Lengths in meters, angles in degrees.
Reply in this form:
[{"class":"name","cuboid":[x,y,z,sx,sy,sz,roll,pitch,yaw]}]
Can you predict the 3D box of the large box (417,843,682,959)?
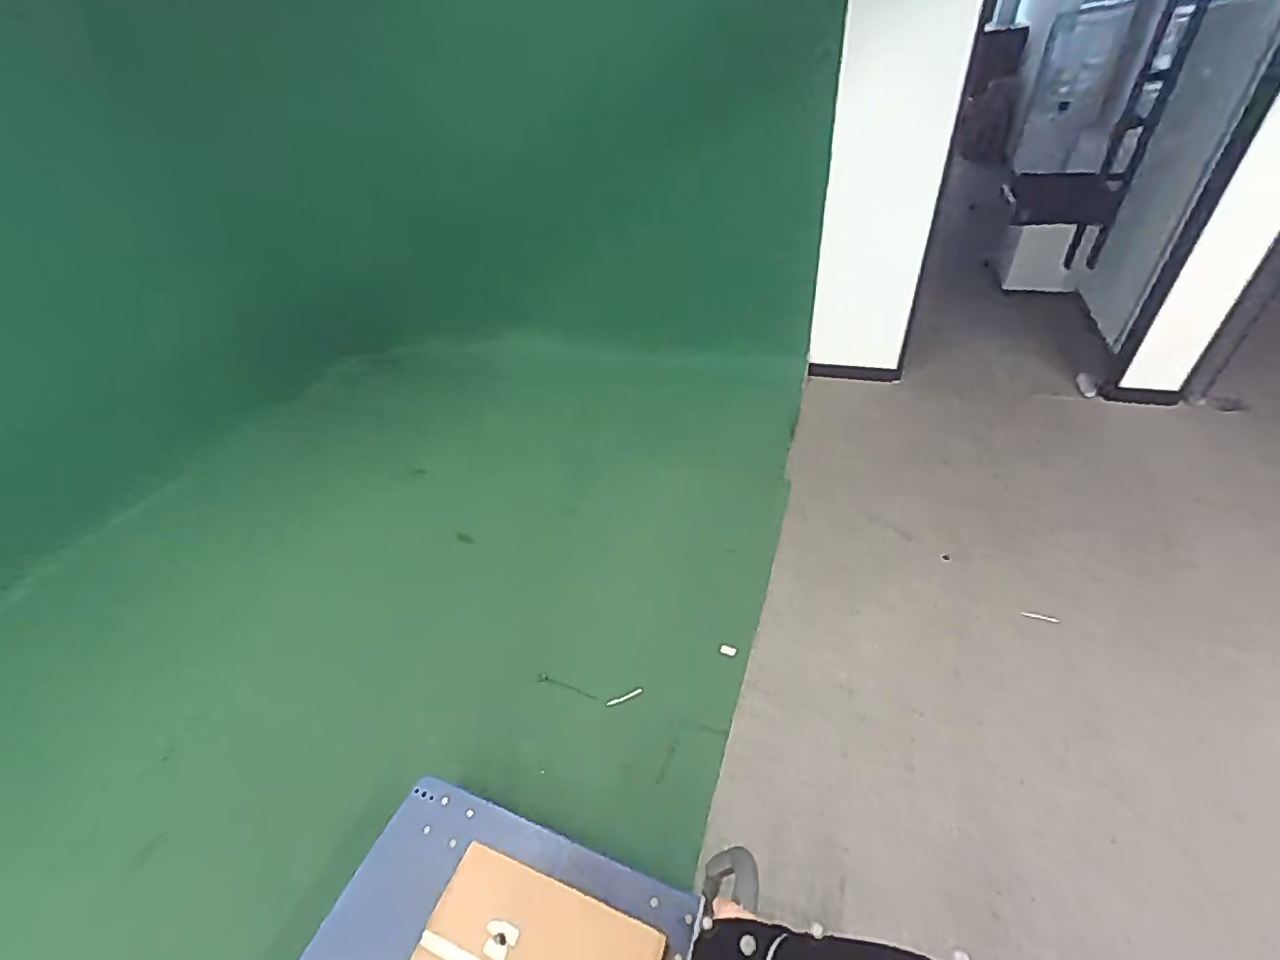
[{"class":"large box","cuboid":[-0.166,0.940,0.976,0.408,0.320,0.320,10,44,21]}]
